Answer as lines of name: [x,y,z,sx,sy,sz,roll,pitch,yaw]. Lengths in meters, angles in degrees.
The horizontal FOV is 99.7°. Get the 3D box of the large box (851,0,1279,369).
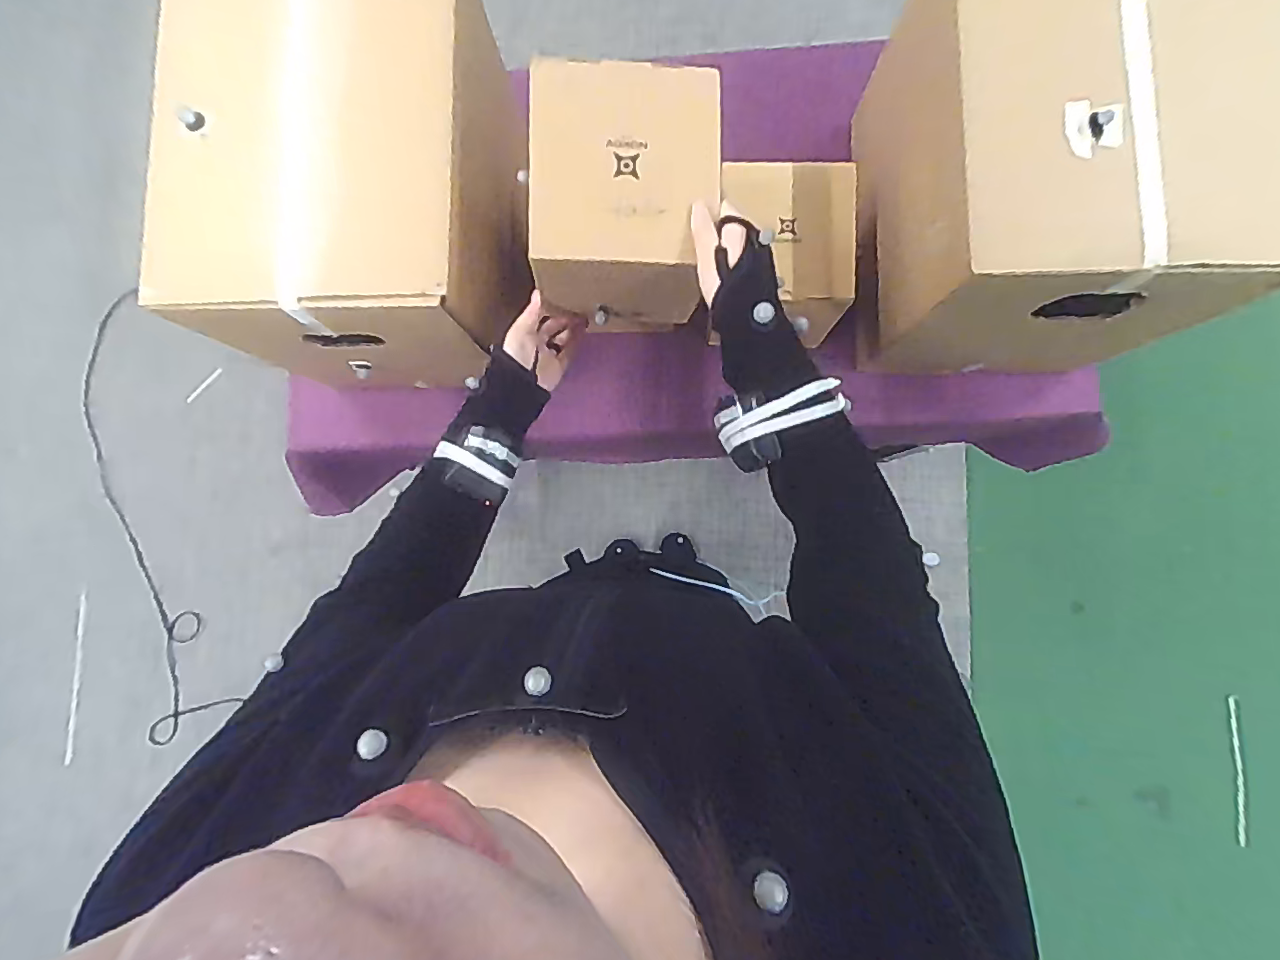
large box: [0.473,-0.375,0.670,0.320,0.320,0.408,1,86,2]
